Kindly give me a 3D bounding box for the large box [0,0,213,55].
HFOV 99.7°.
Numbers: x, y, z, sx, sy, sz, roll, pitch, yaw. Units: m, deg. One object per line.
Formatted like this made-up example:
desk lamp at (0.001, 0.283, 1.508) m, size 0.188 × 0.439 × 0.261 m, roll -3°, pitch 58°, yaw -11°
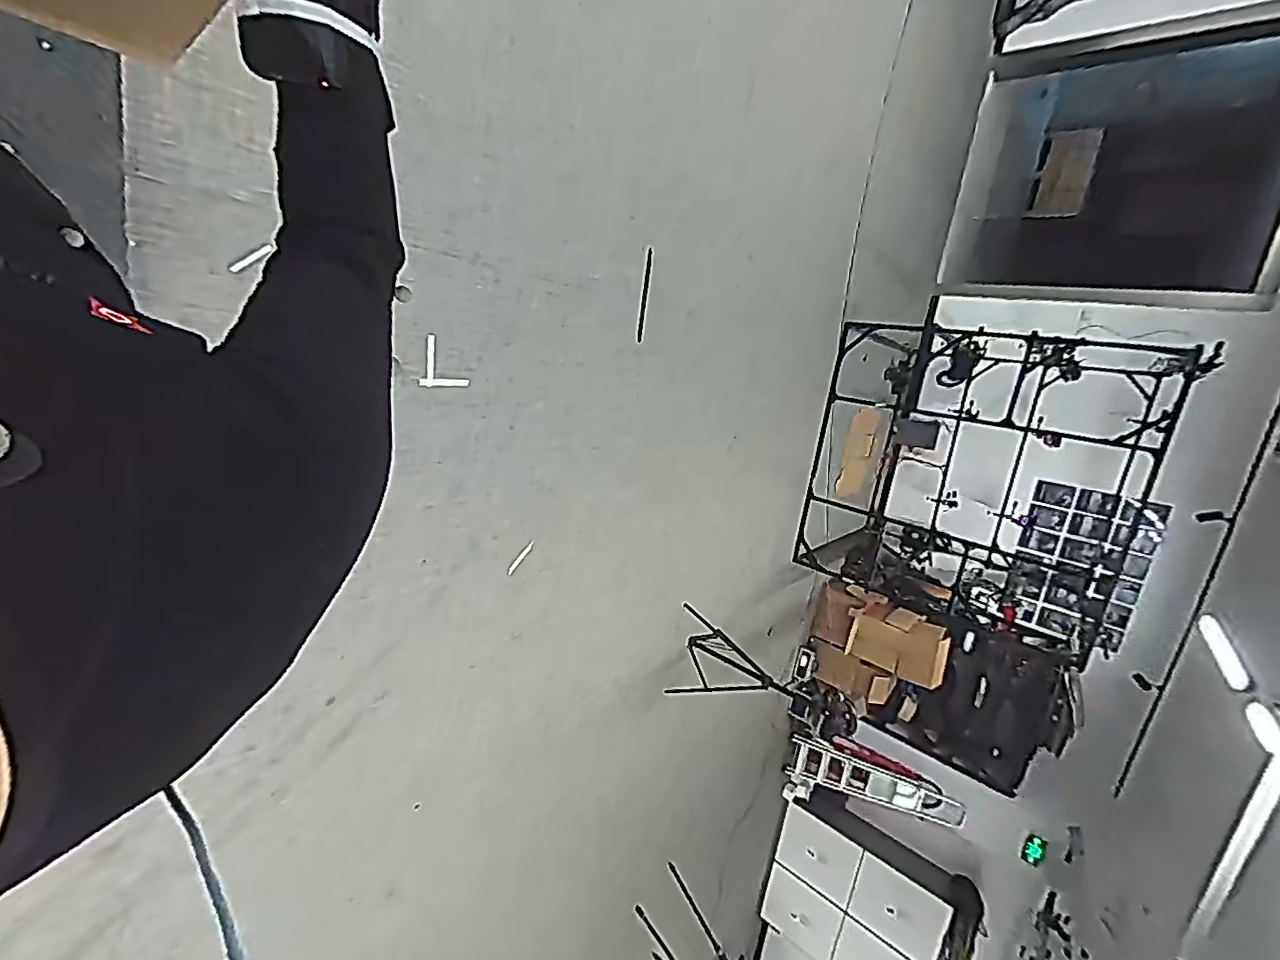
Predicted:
large box at (-0.445, -0.488, 0.235) m, size 0.408 × 0.320 × 0.320 m, roll -10°, pitch 110°, yaw -50°
